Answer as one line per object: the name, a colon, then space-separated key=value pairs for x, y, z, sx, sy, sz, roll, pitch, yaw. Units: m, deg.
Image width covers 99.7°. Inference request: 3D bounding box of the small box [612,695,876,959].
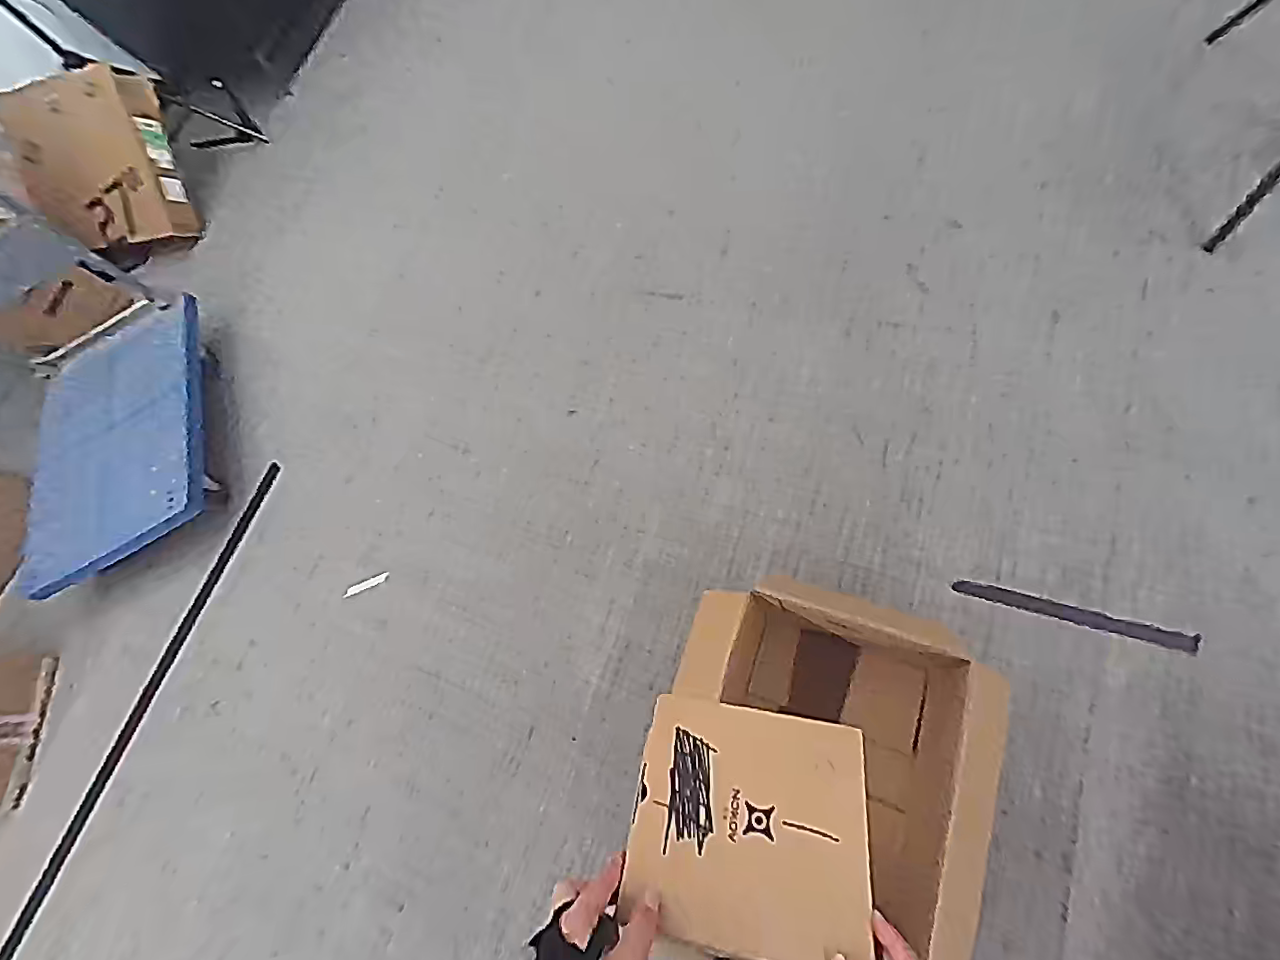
small box: x=0.090 y=0.311 z=0.464 sx=0.179 sy=0.176 sz=0.168 roll=4 pitch=46 yaw=13
